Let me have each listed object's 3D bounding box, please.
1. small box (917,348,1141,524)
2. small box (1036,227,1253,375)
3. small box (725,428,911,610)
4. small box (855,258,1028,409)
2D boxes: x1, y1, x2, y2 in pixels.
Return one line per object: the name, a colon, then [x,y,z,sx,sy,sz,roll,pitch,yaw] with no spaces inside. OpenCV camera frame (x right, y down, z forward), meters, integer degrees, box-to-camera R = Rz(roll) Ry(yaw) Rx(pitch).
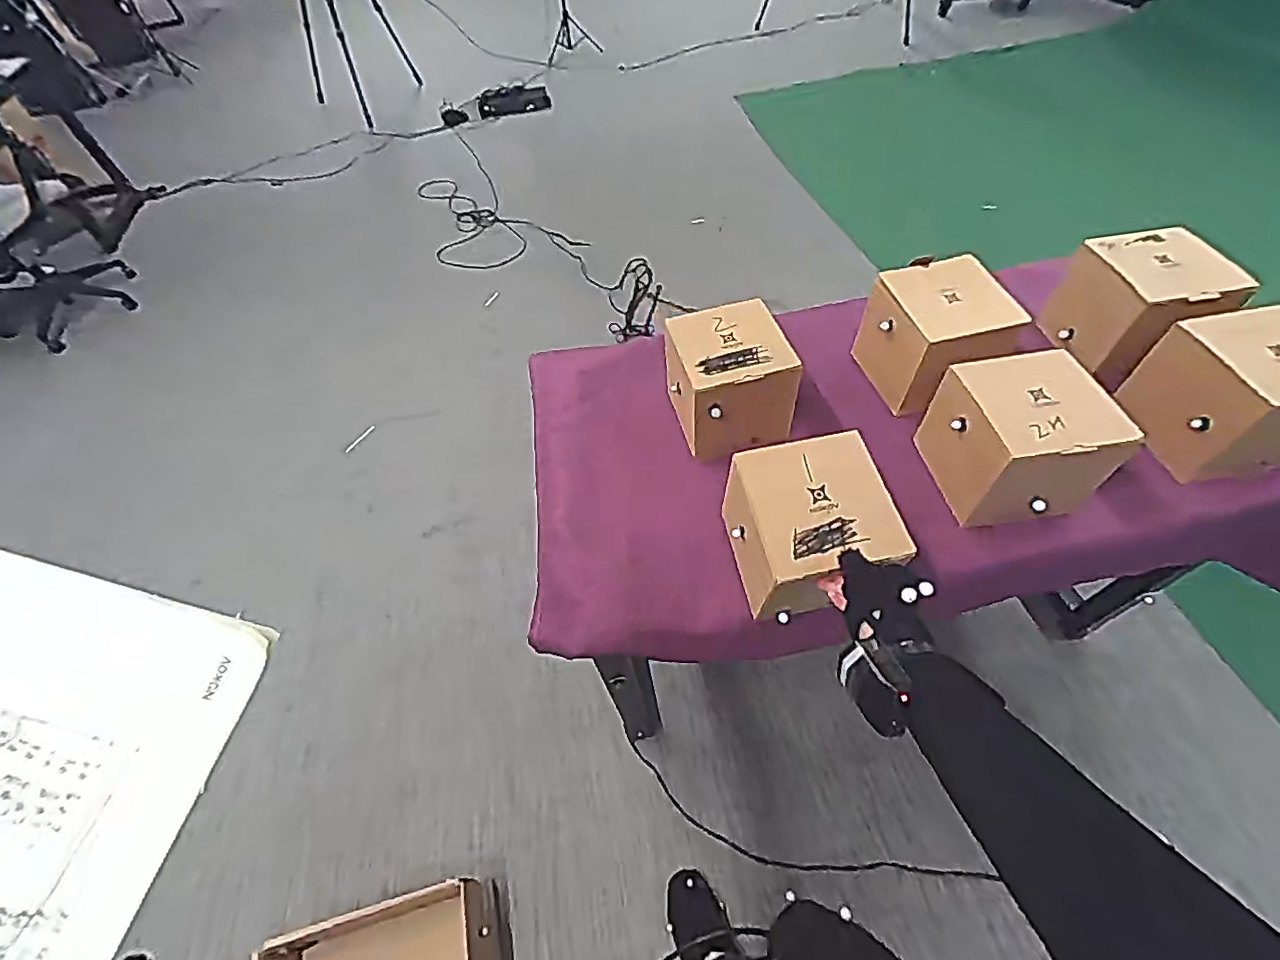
small box: [0.530,-0.060,0.774,0.168,0.176,0.179,-8,54,0]
small box: [0.826,-0.292,0.911,0.168,0.176,0.179,-7,55,1]
small box: [0.216,0.060,0.711,0.168,0.176,0.179,-10,59,-3]
small box: [0.490,-0.238,0.911,0.168,0.176,0.179,-13,54,-3]
